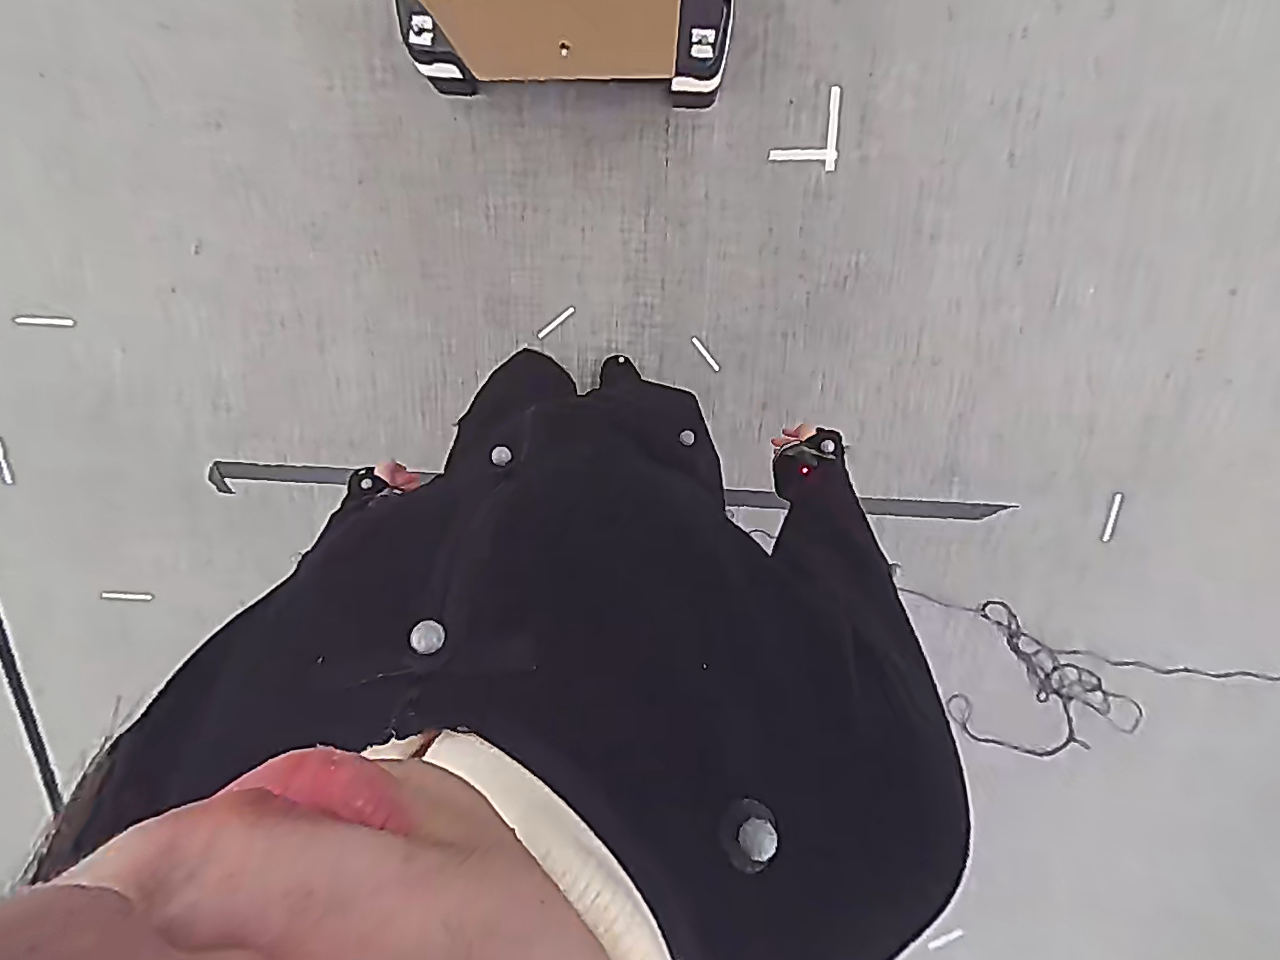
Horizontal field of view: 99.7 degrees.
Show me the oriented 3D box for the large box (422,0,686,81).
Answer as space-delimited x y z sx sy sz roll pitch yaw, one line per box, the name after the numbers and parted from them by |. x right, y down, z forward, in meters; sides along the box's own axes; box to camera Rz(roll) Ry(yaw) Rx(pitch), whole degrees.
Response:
-0.129 -0.911 0.900 0.408 0.320 0.320 0 105 3 | large box
